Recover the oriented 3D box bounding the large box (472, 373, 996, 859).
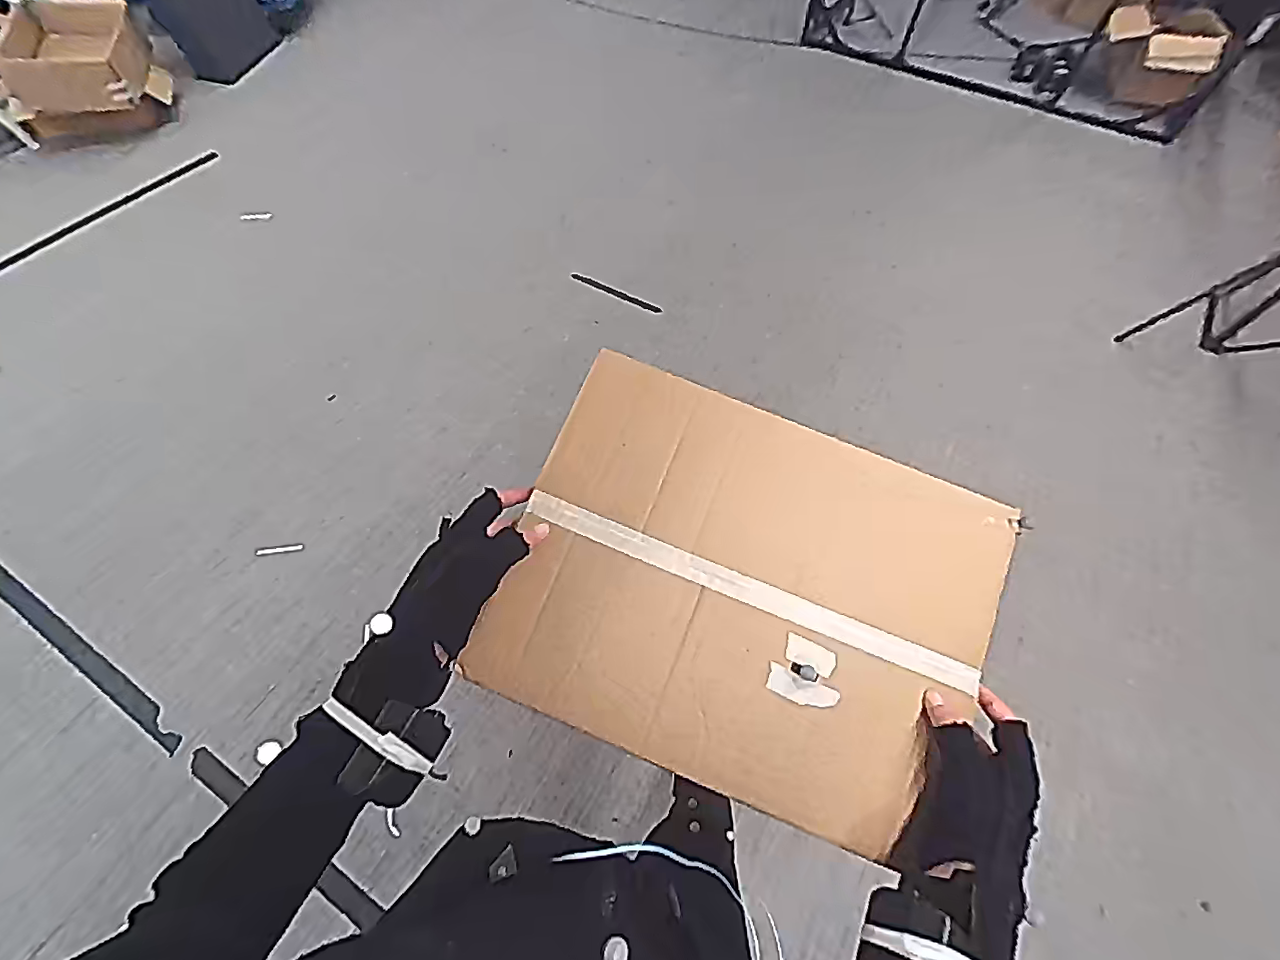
[{"bbox_3d":[0.088,0.134,0.626,0.408,0.320,0.320,22,79,4],"label":"large box"}]
